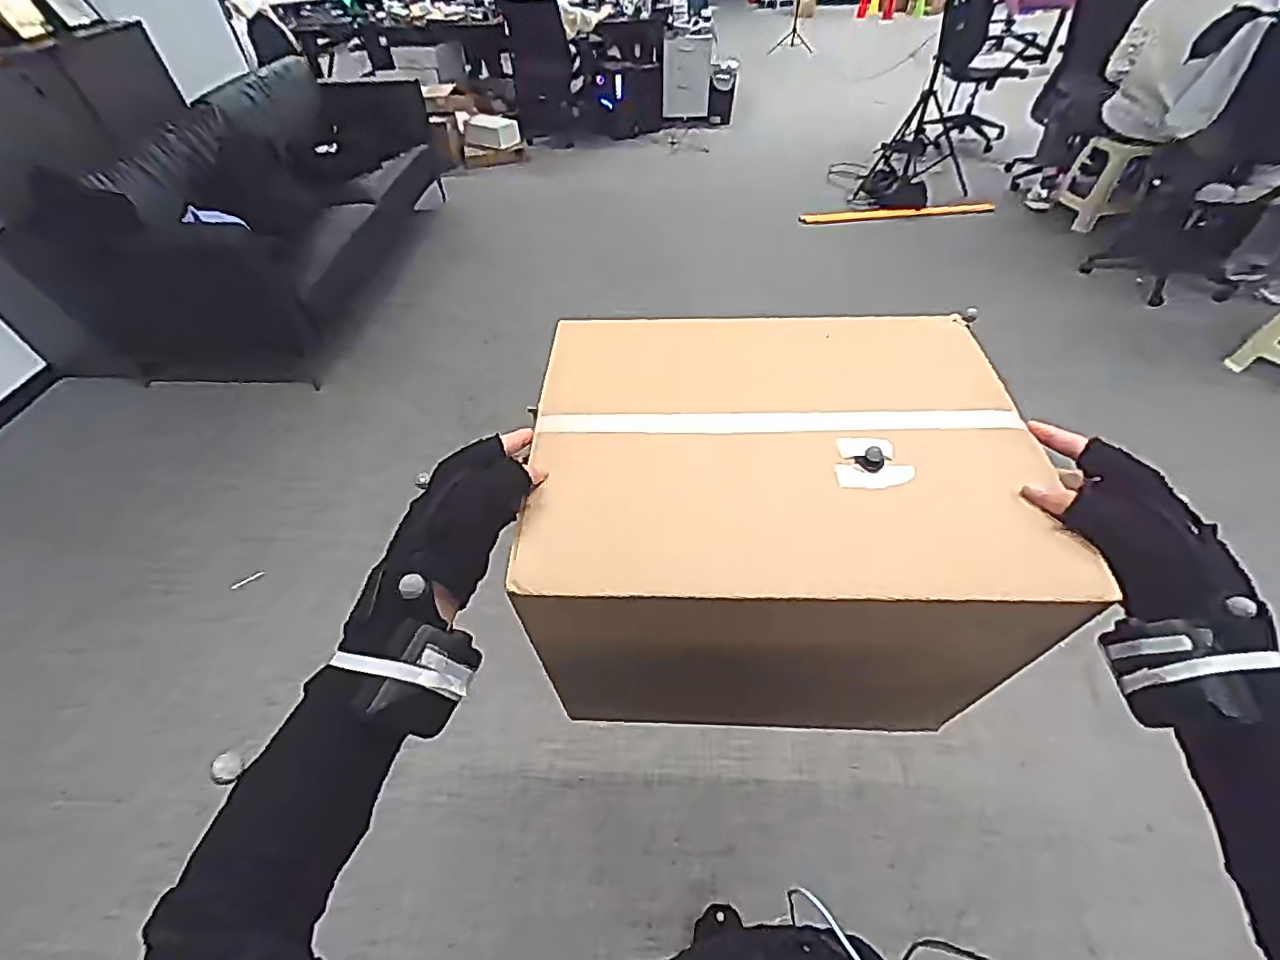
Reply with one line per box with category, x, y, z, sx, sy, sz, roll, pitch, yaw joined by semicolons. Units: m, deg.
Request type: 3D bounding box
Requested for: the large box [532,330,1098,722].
large box;0.124;0.057;0.584;0.408;0.320;0.320;0;51;2
